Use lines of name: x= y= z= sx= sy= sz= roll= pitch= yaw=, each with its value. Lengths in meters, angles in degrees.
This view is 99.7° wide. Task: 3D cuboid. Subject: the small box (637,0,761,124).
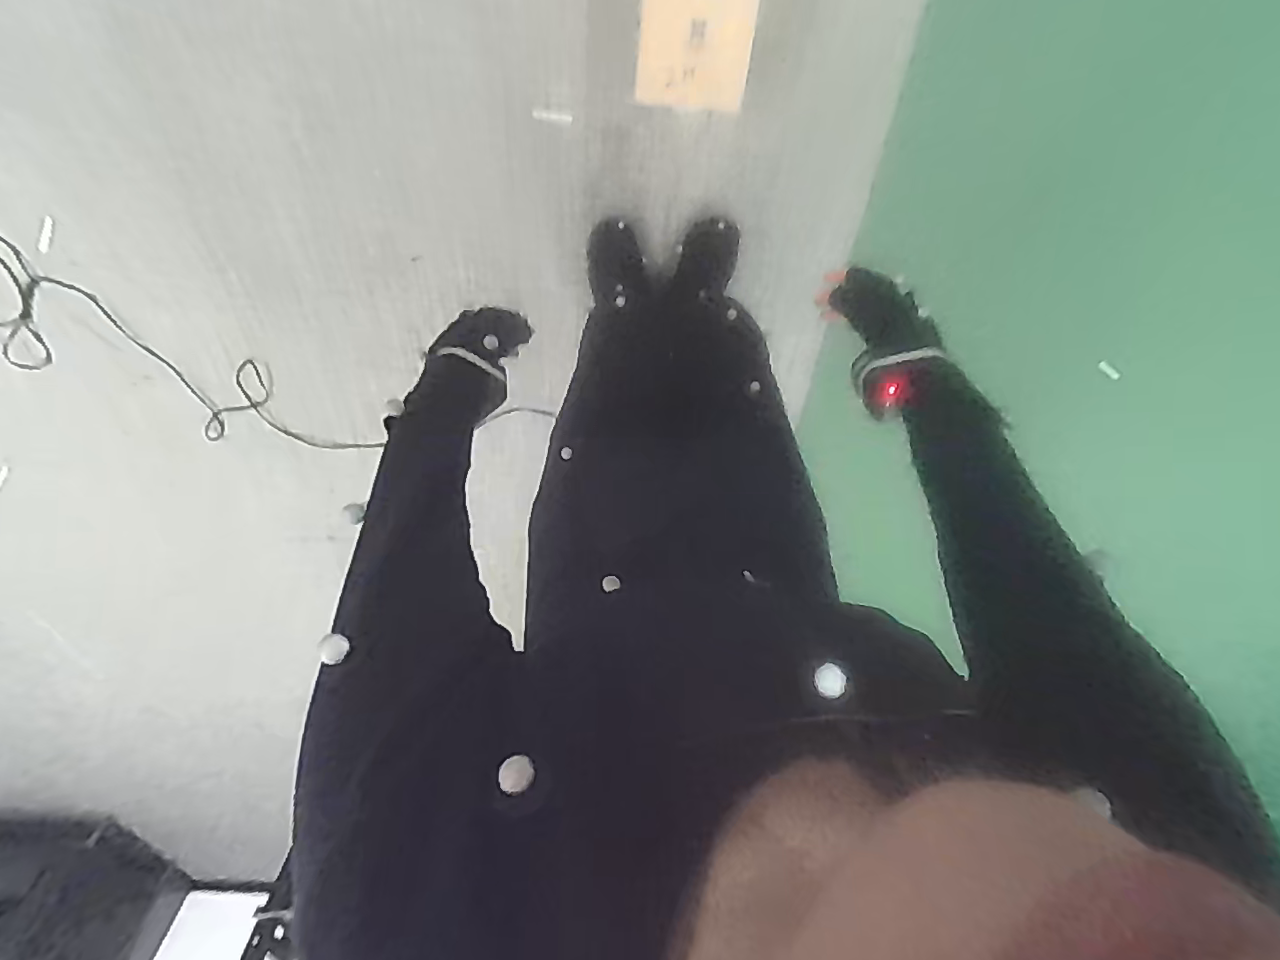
small box: x=0.085 y=-0.690 z=0.863 sx=0.168 sy=0.176 sz=0.179 roll=6 pitch=129 yaw=-2
